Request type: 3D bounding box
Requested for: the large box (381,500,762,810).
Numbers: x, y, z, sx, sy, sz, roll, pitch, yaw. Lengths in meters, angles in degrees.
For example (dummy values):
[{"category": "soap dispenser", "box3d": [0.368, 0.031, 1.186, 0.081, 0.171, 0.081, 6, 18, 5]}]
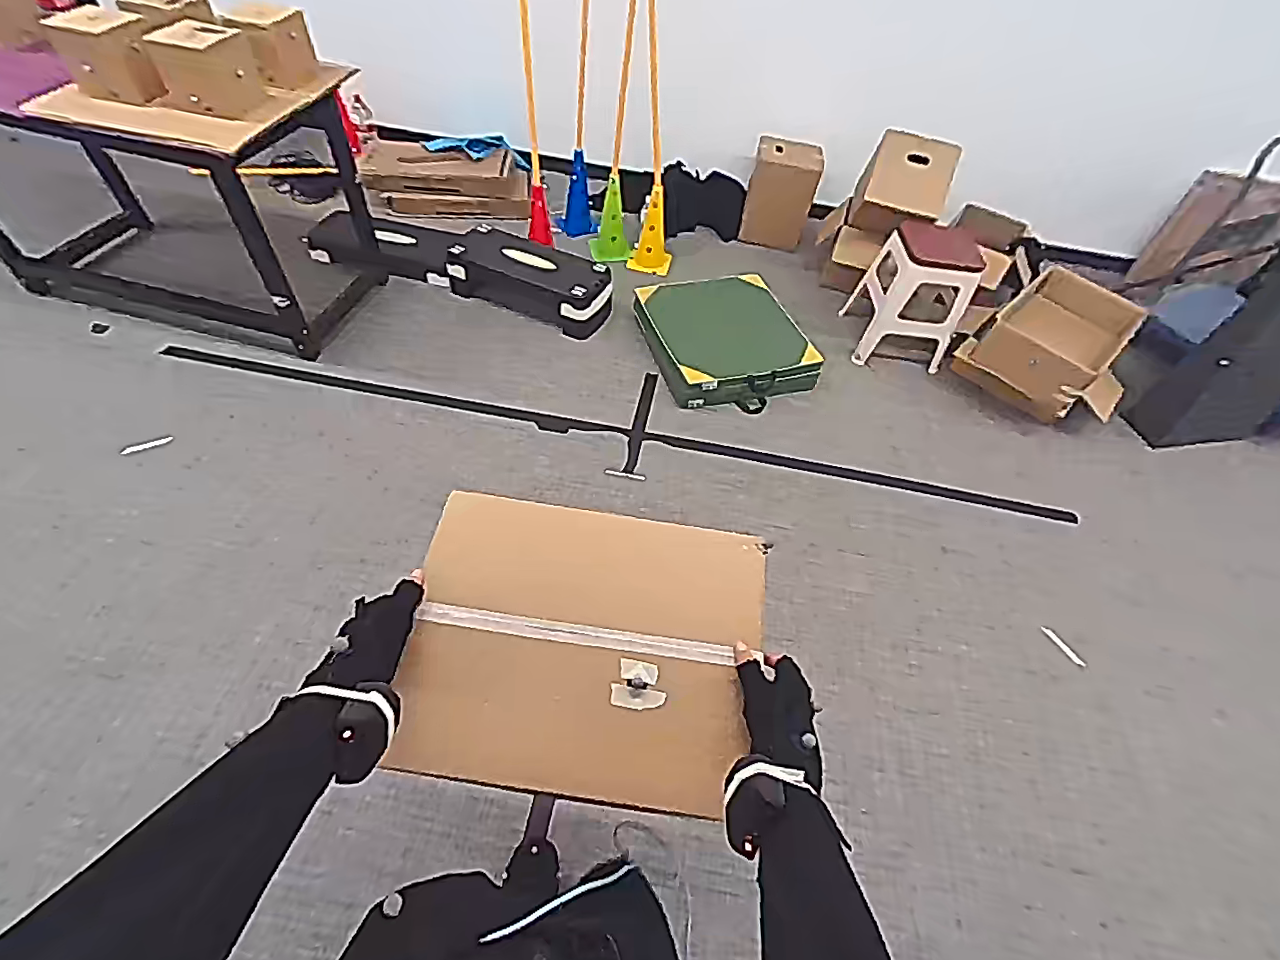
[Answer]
[{"category": "large box", "box3d": [-0.069, 0.258, 0.760, 0.408, 0.320, 0.320, 9, 60, 0]}]
